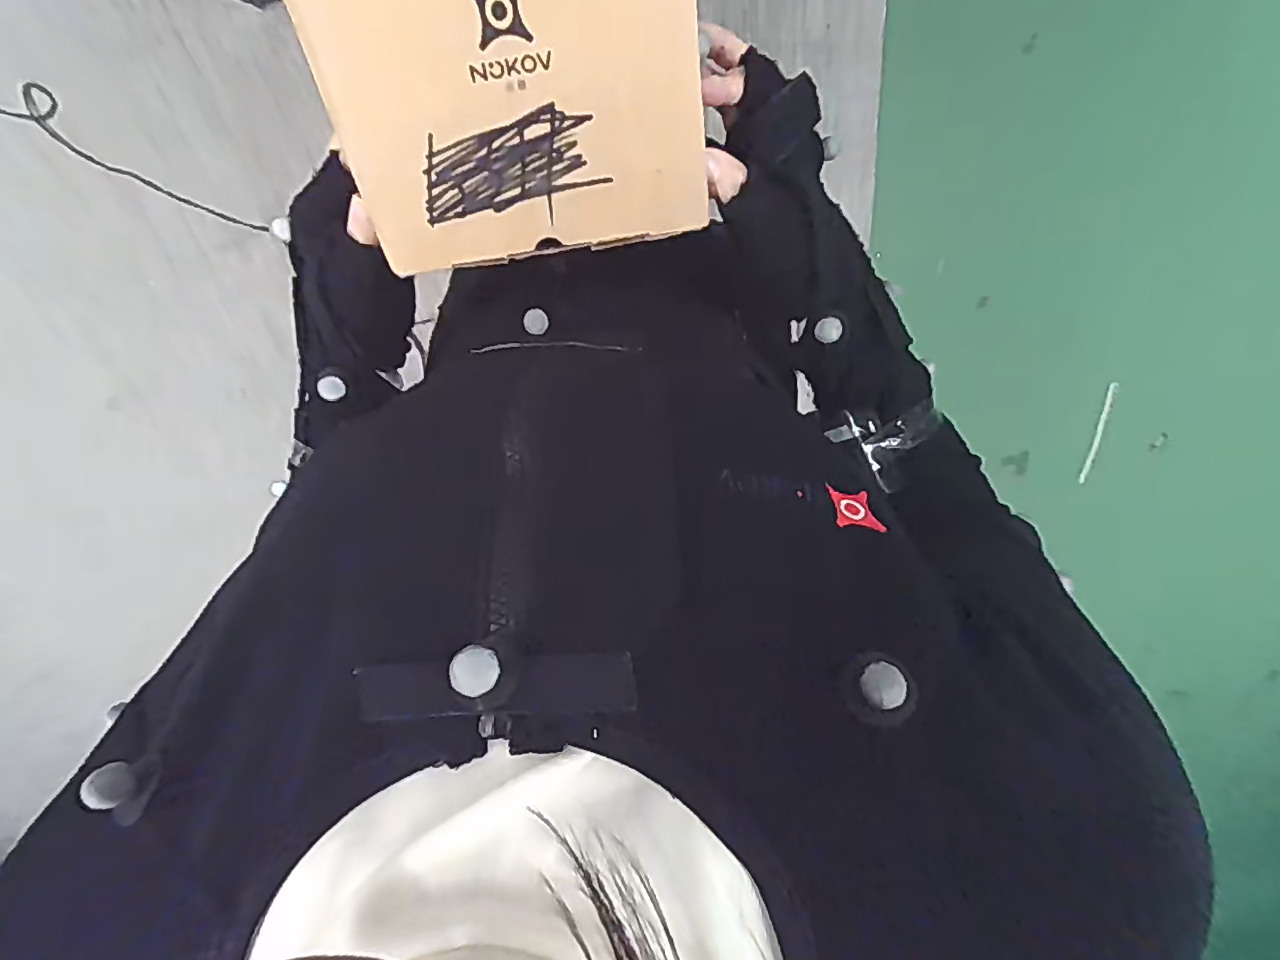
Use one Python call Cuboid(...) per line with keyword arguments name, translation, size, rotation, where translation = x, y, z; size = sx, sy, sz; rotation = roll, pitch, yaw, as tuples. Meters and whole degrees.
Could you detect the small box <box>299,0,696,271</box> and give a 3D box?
Cuboid(name="small box", translation=(-0.062, -0.237, 0.301), size=(0.168, 0.176, 0.179), rotation=(-7, 126, 1))
